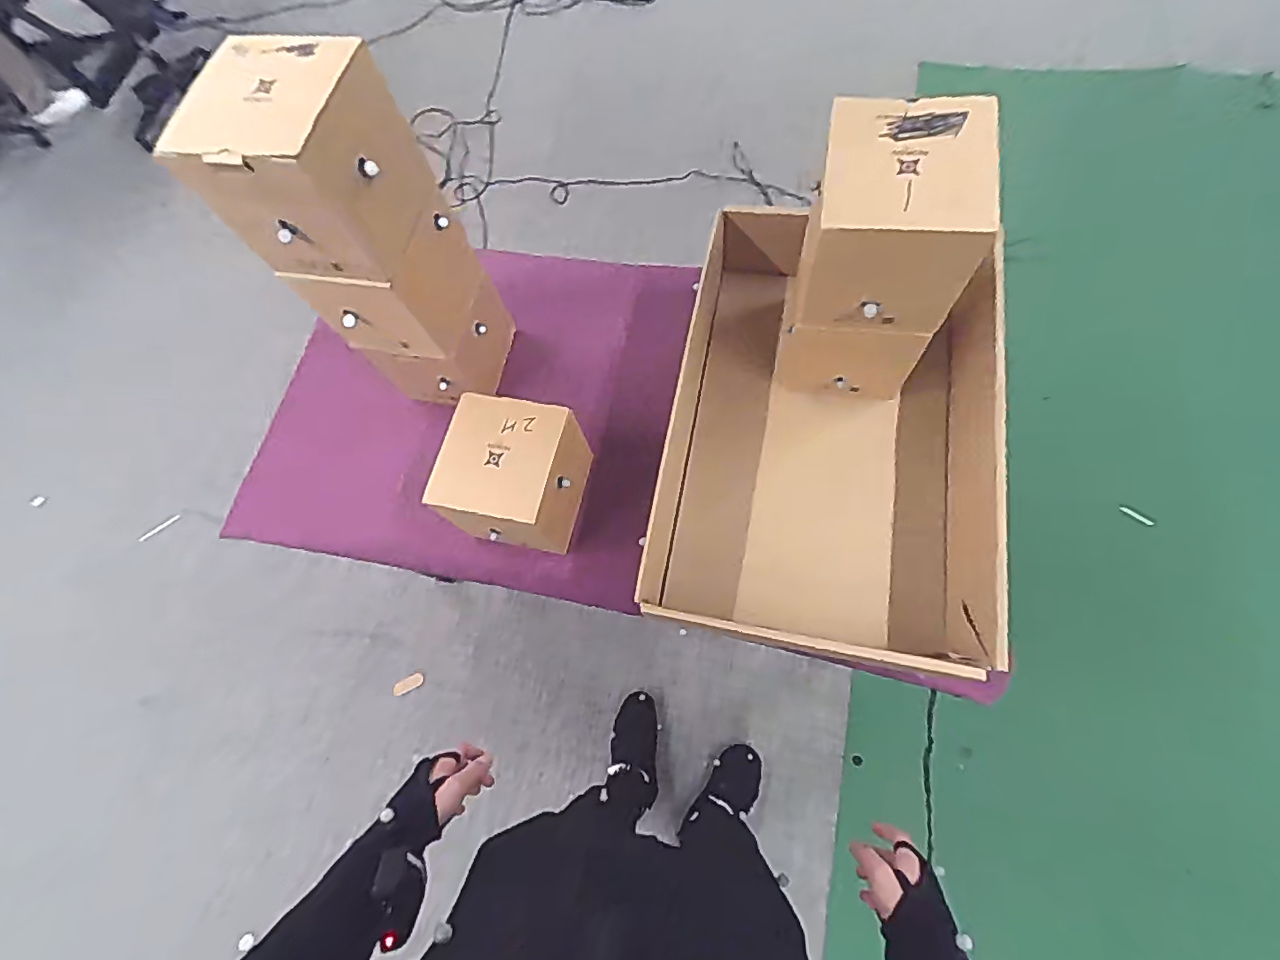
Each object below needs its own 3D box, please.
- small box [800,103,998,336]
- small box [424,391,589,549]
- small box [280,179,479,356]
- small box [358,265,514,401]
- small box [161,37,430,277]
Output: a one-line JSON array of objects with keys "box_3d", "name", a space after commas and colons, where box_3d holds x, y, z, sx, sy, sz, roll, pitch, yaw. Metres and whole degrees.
[{"box_3d": [0.285, -0.294, 0.626, 0.168, 0.176, 0.179, 7, 73, 11], "name": "small box"}, {"box_3d": [-0.185, -0.008, 0.812, 0.168, 0.176, 0.179, 11, 71, 10], "name": "small box"}, {"box_3d": [-0.353, -0.298, 0.771, 0.168, 0.176, 0.179, 9, 71, 10], "name": "small box"}, {"box_3d": [-0.333, -0.247, 0.923, 0.168, 0.176, 0.179, 10, 71, 10], "name": "small box"}, {"box_3d": [-0.369, -0.359, 0.619, 0.168, 0.176, 0.179, 9, 72, 9], "name": "small box"}]
